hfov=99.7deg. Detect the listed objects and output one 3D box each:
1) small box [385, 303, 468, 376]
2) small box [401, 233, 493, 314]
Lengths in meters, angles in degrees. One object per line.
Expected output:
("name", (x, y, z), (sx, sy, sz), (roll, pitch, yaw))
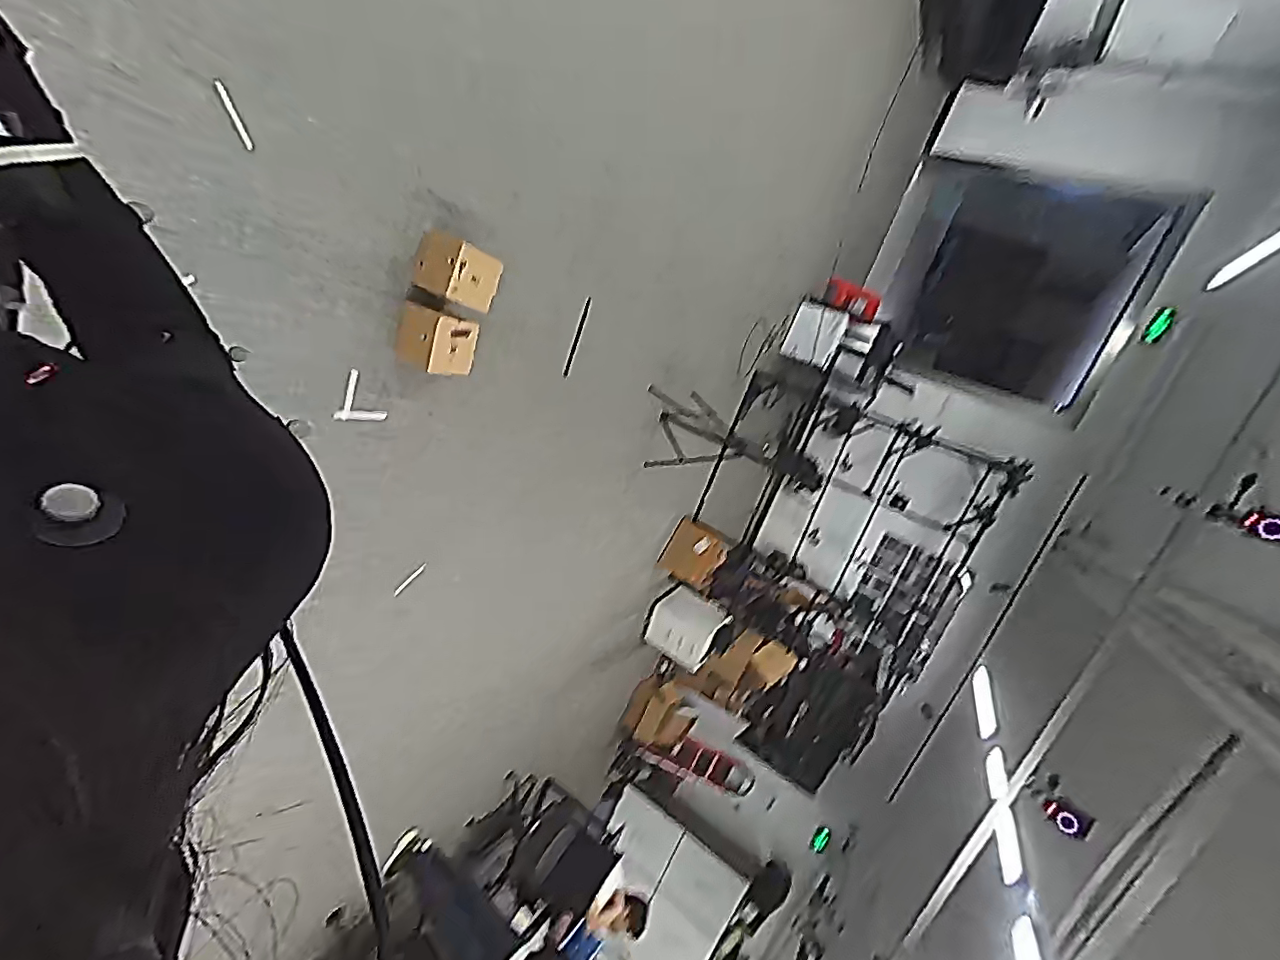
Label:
("small box", (-0.681, -0.446, 1.715), (0.168, 0.176, 0.179), (-12, 126, -60))
("small box", (-0.599, -0.641, 1.677), (0.179, 0.176, 0.168), (4, 111, -64))
